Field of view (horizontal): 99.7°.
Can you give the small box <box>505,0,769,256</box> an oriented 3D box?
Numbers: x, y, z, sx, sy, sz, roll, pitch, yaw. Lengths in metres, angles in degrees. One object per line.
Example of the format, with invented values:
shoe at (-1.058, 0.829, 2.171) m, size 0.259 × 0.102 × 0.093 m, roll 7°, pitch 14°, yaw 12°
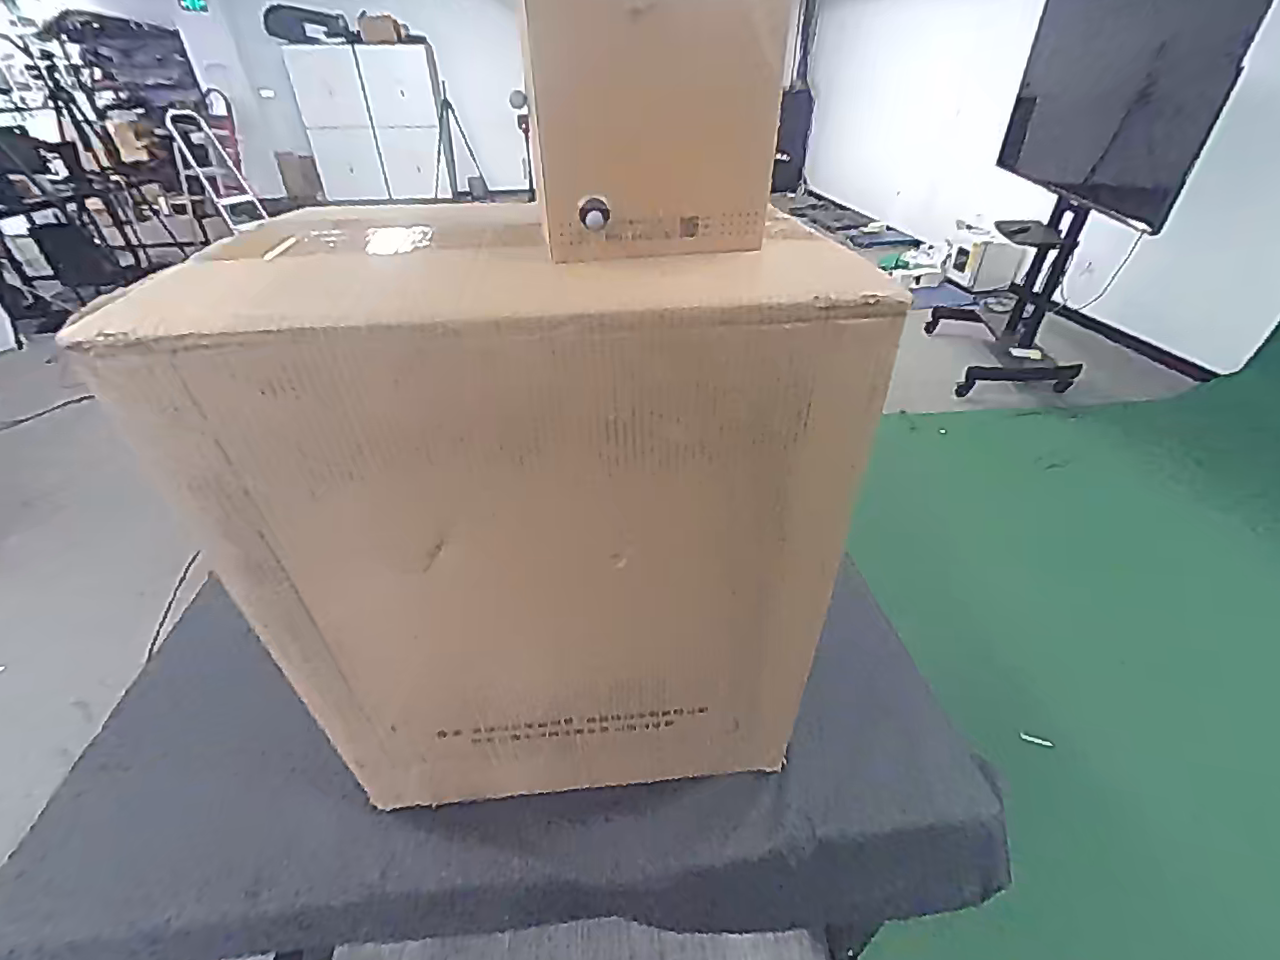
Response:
small box at (-0.009, -0.282, 0.425) m, size 0.168 × 0.176 × 0.179 m, roll -8°, pitch 38°, yaw -8°
